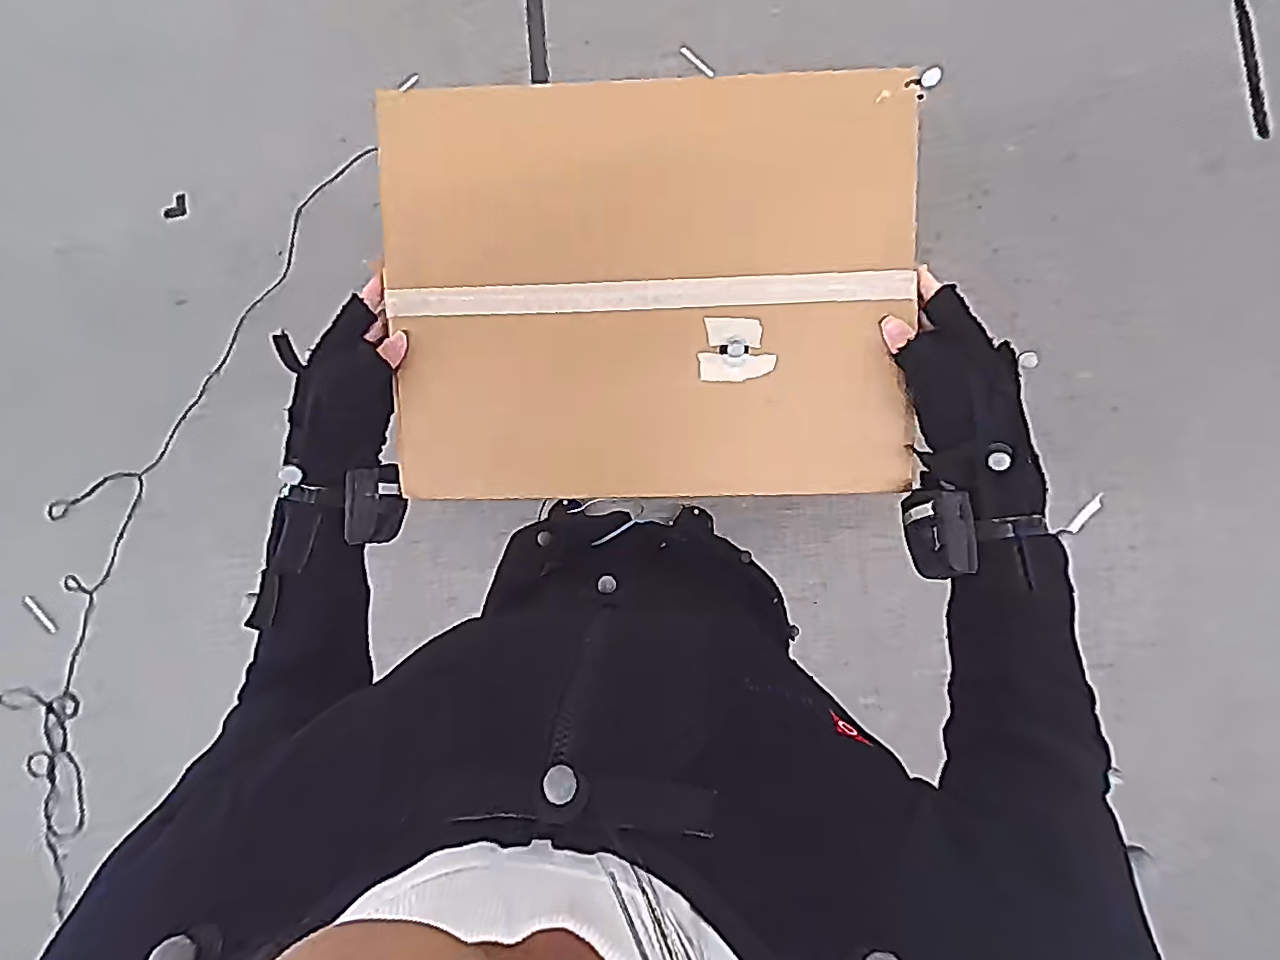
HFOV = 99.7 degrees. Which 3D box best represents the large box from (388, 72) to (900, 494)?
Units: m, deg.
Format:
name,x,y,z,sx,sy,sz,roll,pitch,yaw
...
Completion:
name,x,y,z,sx,sy,sz,roll,pitch,yaw
large box,0.007,-0.163,0.578,0.408,0.320,0.320,-2,96,1
